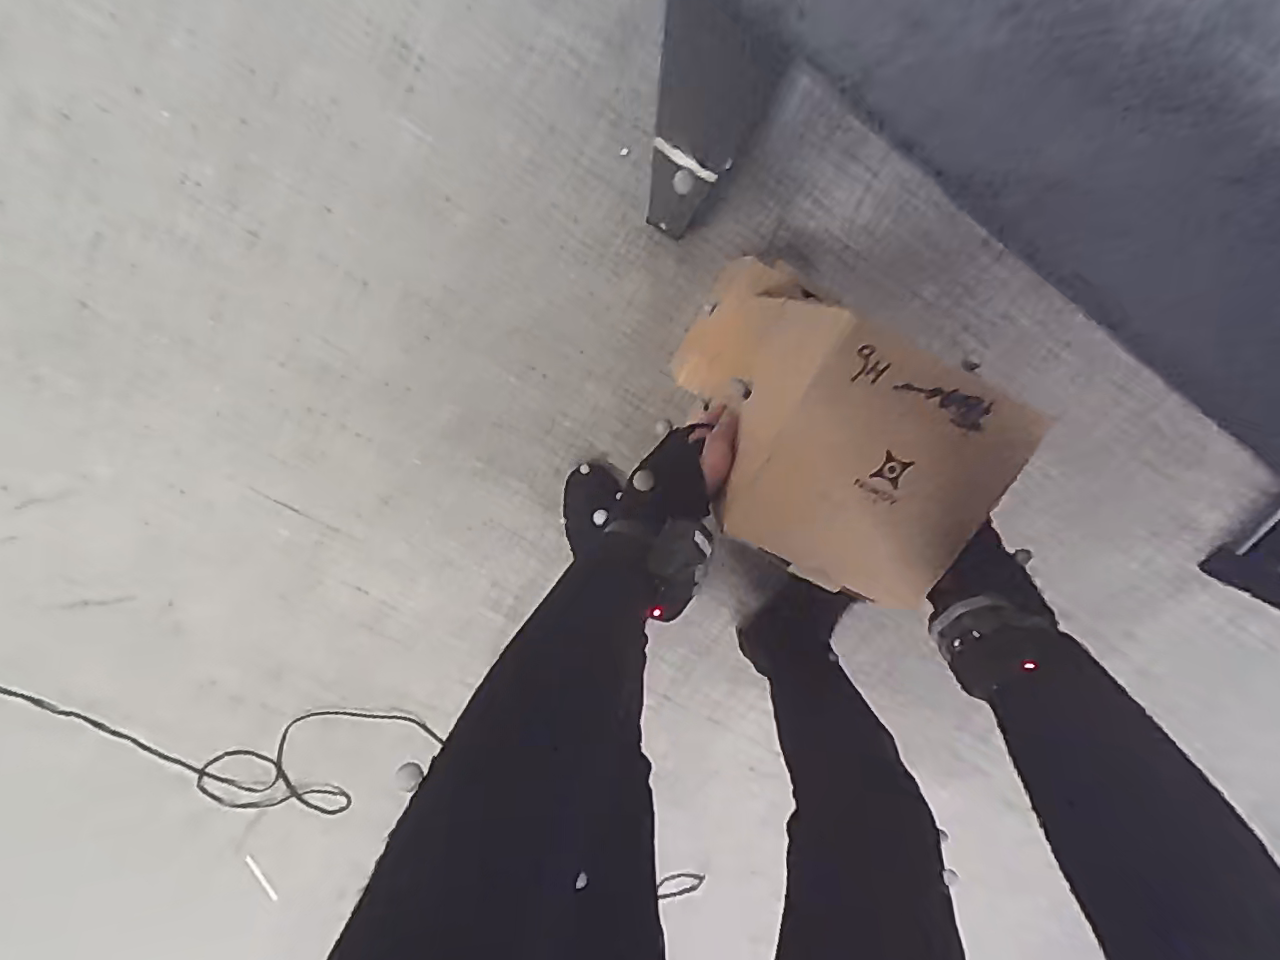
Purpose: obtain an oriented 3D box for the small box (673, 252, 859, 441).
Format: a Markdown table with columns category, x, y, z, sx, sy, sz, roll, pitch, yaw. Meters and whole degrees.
| category | x | y | z | sx | sy | sz | roll | pitch | yaw |
| --- | --- | --- | --- | --- | --- | --- | --- | --- | --- |
| small box | 0.154 | -0.185 | 0.737 | 0.168 | 0.176 | 0.179 | 28 | 108 | -9 |
